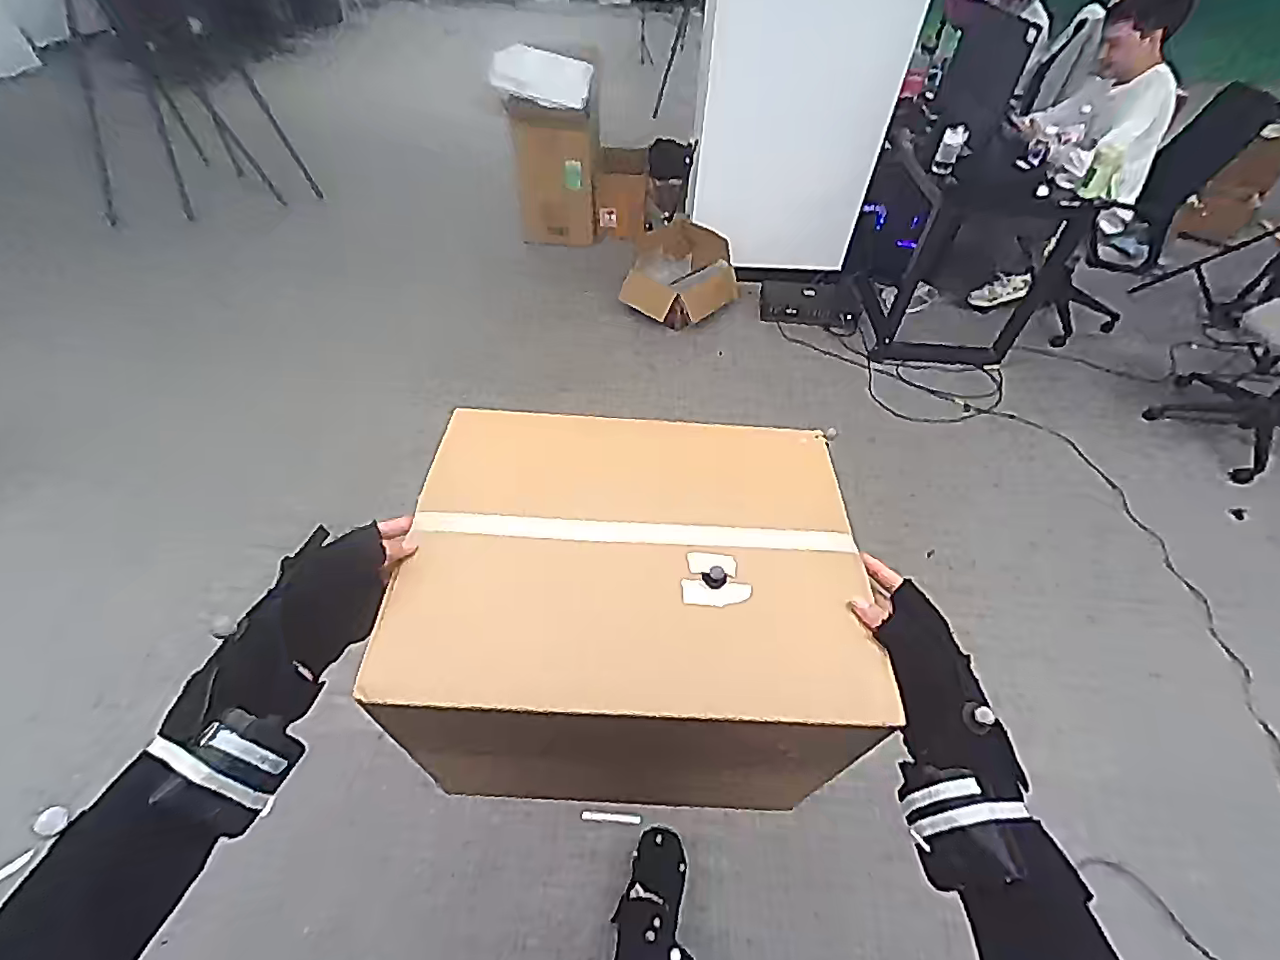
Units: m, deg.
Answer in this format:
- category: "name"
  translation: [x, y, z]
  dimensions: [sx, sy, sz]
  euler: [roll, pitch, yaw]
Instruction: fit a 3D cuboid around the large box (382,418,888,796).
- category: "large box"
  translation: [-0.010, 0.154, 0.624]
  dimensions: [0.408, 0.320, 0.320]
  euler: [4, 49, -2]
